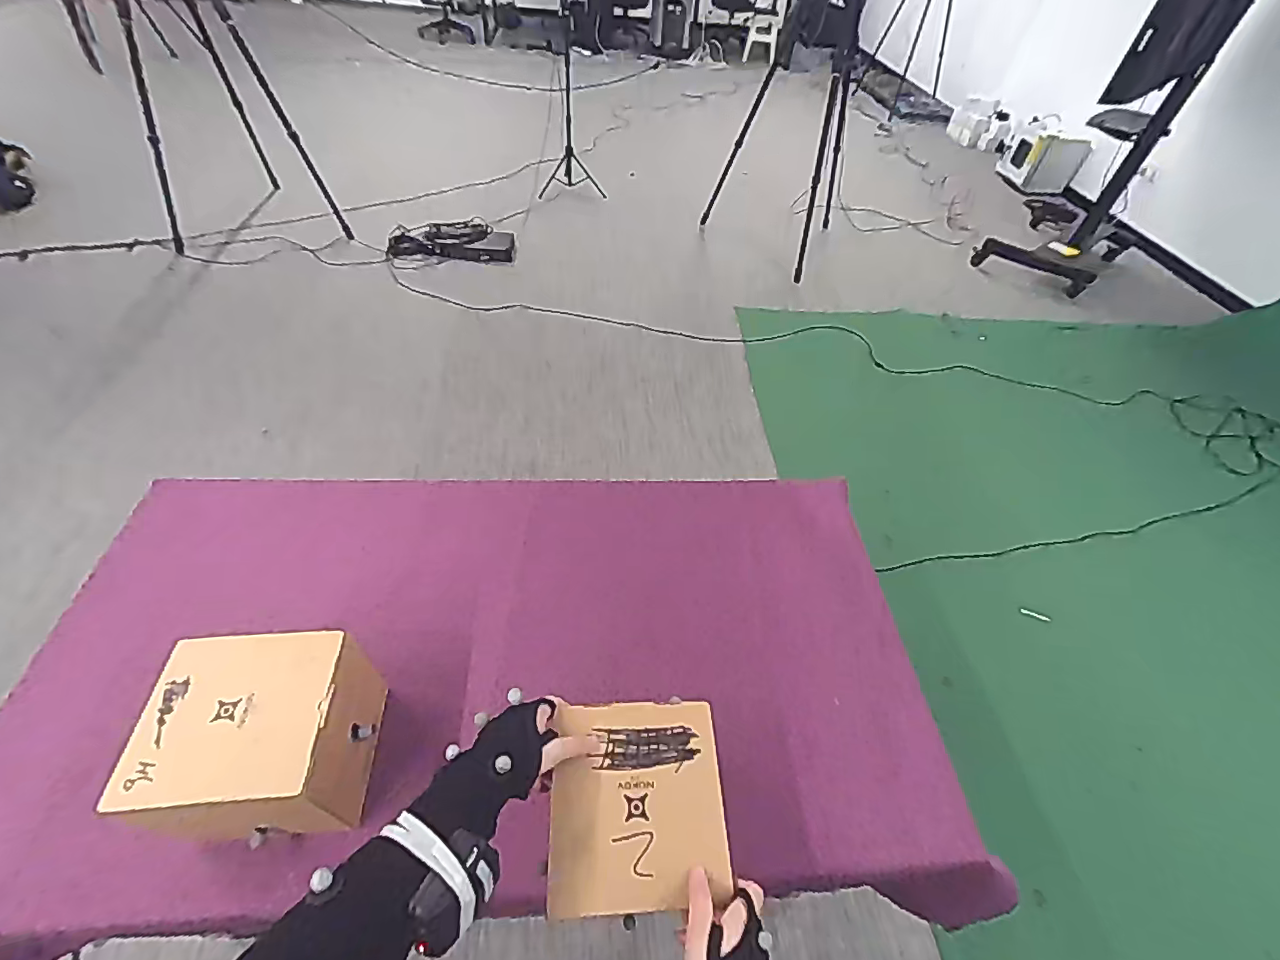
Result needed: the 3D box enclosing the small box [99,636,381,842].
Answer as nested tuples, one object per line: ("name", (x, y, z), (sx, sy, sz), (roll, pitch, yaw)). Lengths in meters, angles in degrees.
("small box", (-0.411, 0.288, 0.602), (0.179, 0.176, 0.168), (-1, 48, -8))
